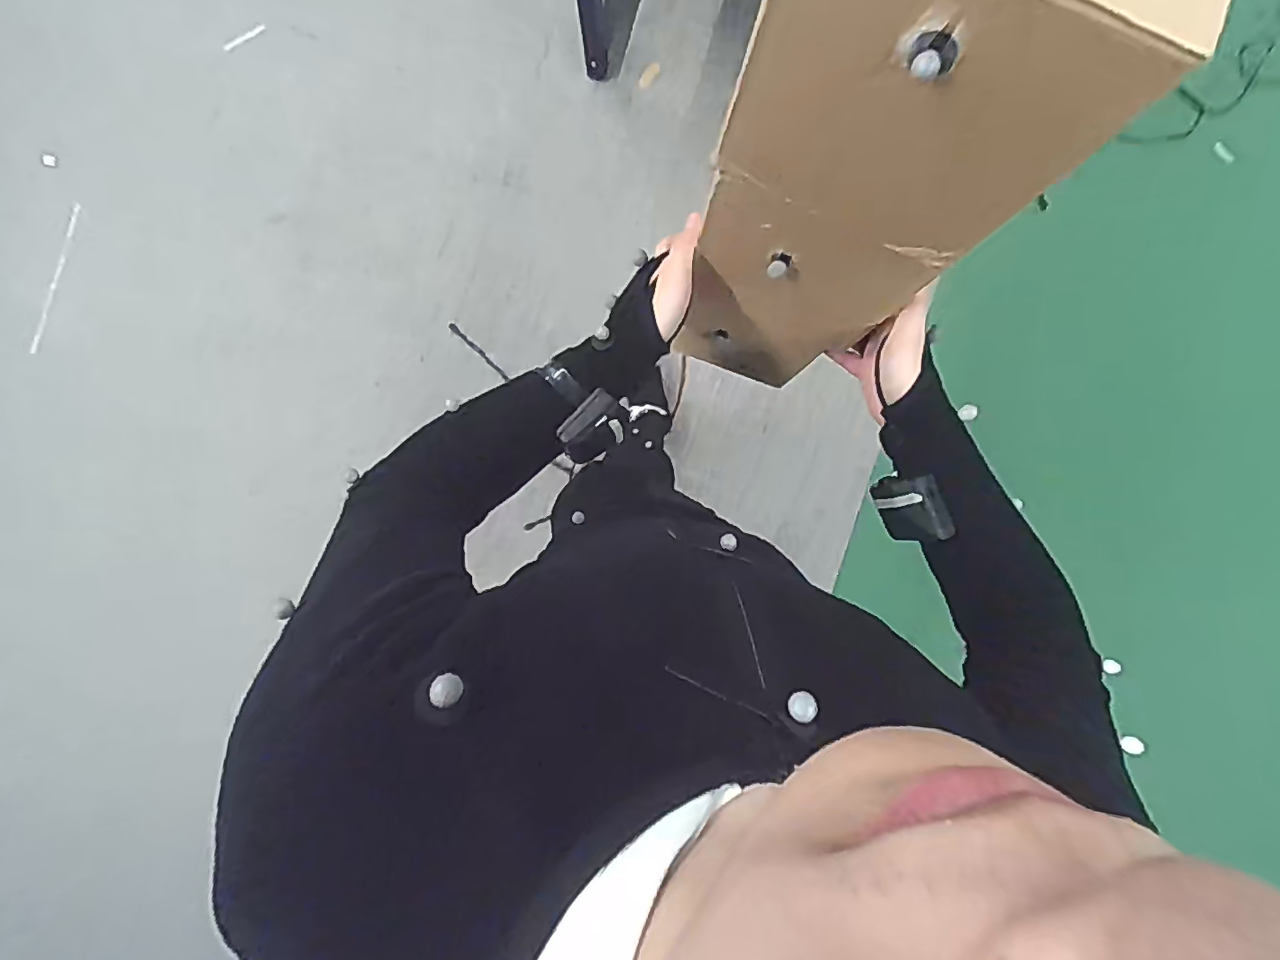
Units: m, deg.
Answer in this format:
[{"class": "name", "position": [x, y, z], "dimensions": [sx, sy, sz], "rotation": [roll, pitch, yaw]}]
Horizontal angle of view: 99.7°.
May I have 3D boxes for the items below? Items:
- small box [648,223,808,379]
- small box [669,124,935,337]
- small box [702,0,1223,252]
[{"class": "small box", "position": [0.115, -0.236, 0.606], "dimensions": [0.168, 0.176, 0.179], "rotation": [22, 81, -3]}, {"class": "small box", "position": [0.136, -0.242, 0.443], "dimensions": [0.179, 0.176, 0.168], "rotation": [23, 82, -2]}, {"class": "small box", "position": [0.152, -0.256, 0.280], "dimensions": [0.179, 0.176, 0.168], "rotation": [27, 82, -3]}]
